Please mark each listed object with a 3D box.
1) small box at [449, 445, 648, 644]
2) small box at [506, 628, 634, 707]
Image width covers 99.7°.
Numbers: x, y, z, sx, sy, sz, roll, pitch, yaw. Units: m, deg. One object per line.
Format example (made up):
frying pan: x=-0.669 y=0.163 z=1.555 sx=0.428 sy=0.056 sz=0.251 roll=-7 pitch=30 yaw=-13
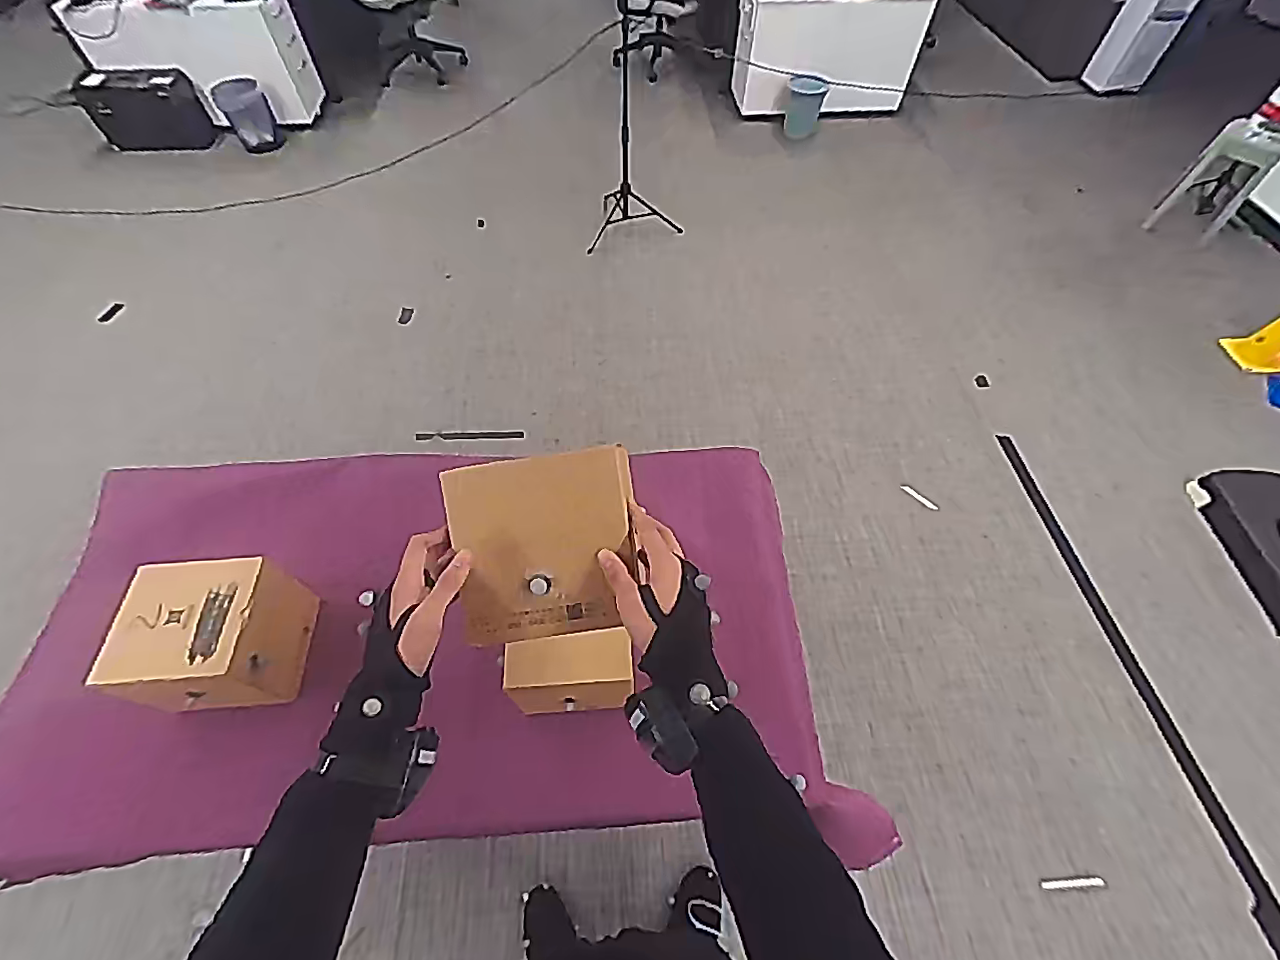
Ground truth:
small box: x=-0.085 y=0.059 z=0.583 sx=0.168 sy=0.179 sz=0.176 roll=-8 pitch=97 yaw=2
small box: x=-0.094 y=0.231 z=0.800 sx=0.168 sy=0.176 sz=0.179 roll=-2 pitch=57 yaw=-2
